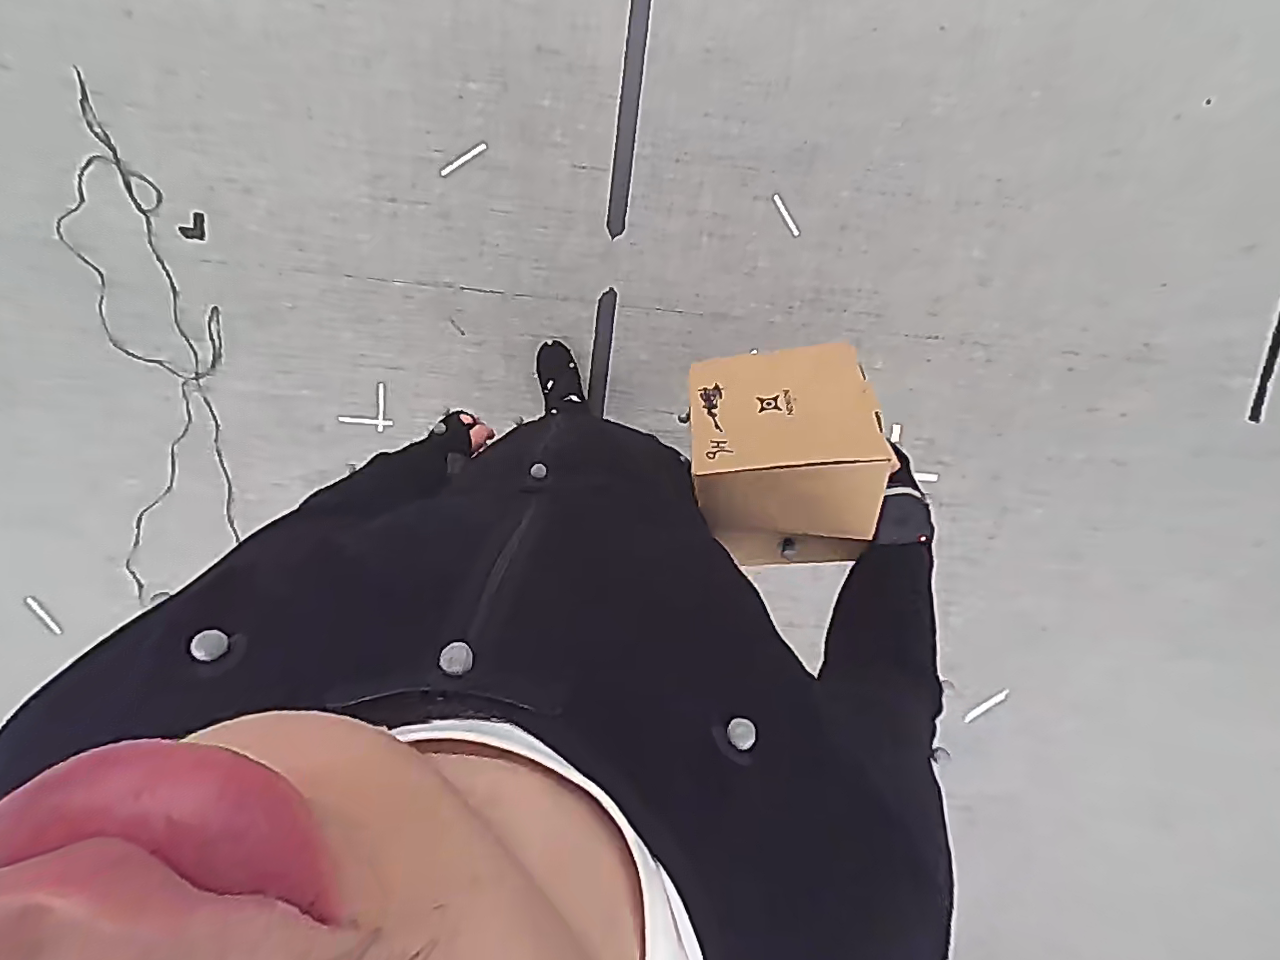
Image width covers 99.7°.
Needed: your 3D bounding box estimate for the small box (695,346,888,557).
[{"bbox_3d":[0.155,-0.026,0.608,0.179,0.168,0.176,-4,139,9],"label":"small box"}]
